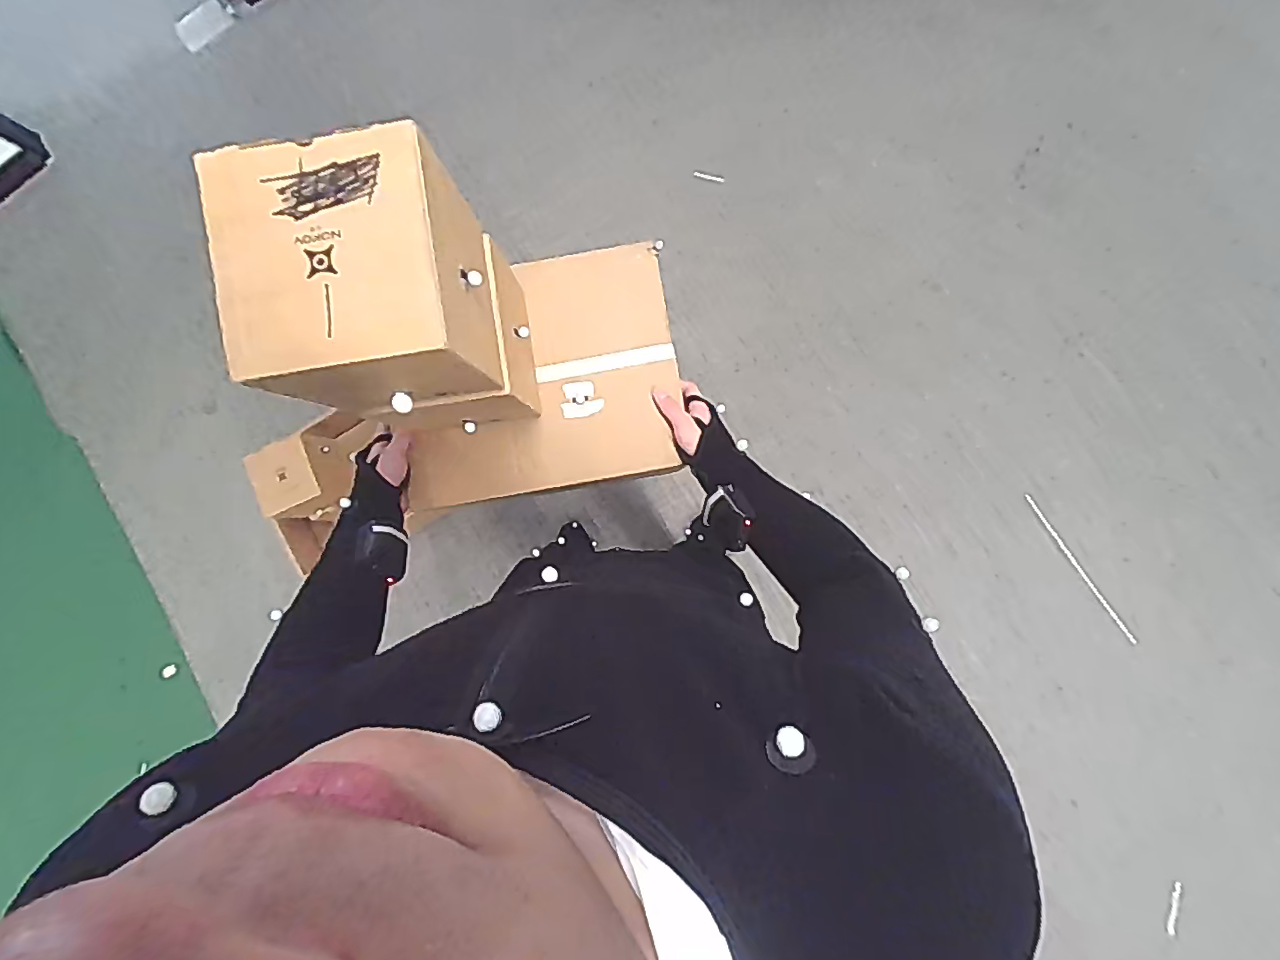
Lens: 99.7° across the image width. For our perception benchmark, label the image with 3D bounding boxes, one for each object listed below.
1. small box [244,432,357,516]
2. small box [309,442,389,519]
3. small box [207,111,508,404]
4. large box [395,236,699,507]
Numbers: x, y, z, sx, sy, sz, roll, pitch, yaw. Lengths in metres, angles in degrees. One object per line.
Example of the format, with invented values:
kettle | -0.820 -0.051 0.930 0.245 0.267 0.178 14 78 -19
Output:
small box | -0.912 -0.009 1.465 0.168 0.176 0.179 -23 85 3
small box | -0.898 0.007 1.627 0.168 0.176 0.179 -27 85 1
small box | -0.227 -0.175 0.477 0.168 0.176 0.179 -9 90 1
large box | -0.141 -0.146 0.884 0.408 0.320 0.320 -10 90 0
